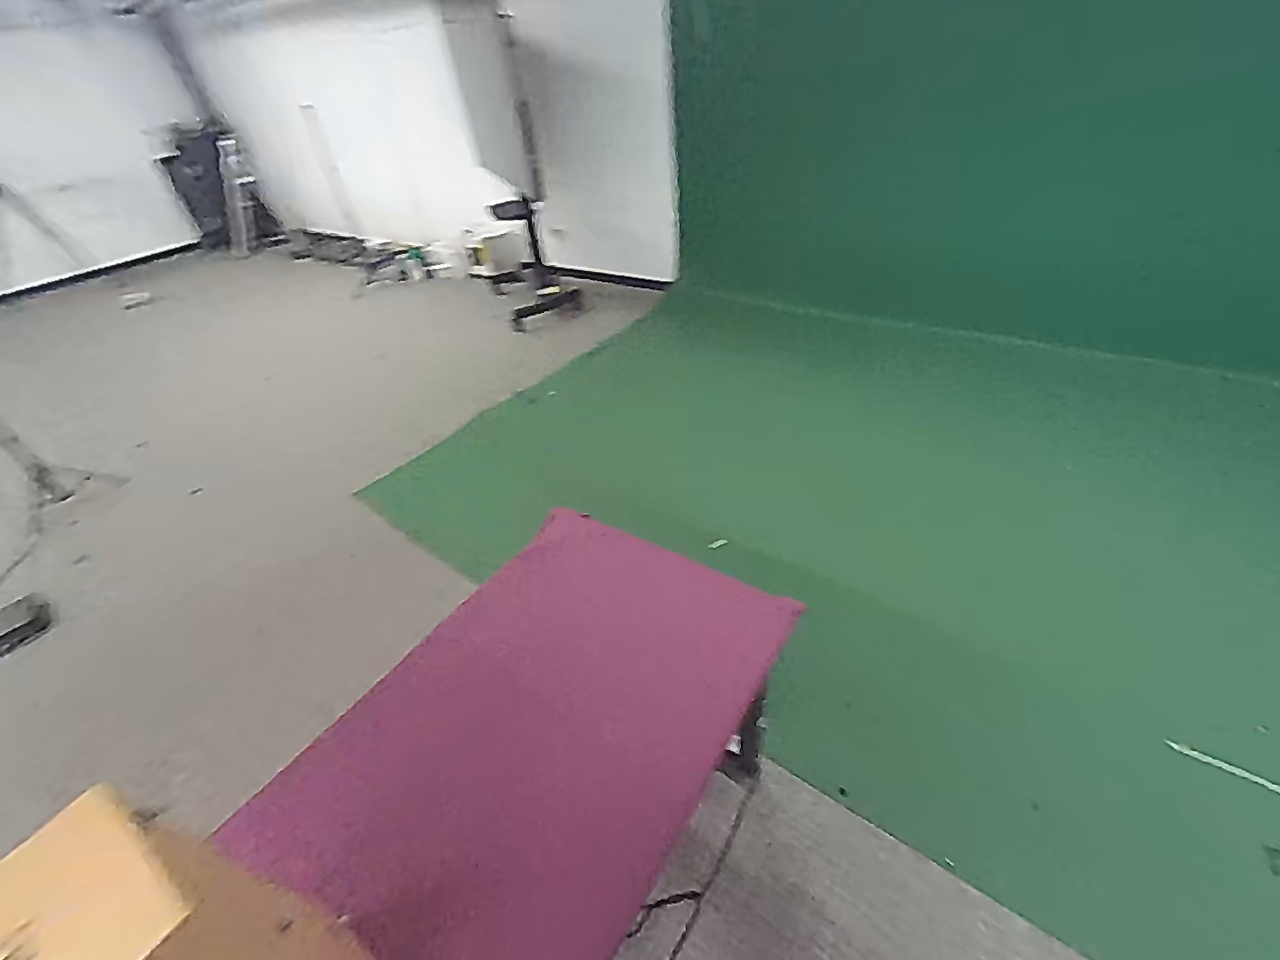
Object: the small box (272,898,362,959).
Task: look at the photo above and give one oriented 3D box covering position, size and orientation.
[{"bbox_3d":[-0.404,0.634,0.610,0.179,0.176,0.168,20,46,28],"label":"small box"}]
